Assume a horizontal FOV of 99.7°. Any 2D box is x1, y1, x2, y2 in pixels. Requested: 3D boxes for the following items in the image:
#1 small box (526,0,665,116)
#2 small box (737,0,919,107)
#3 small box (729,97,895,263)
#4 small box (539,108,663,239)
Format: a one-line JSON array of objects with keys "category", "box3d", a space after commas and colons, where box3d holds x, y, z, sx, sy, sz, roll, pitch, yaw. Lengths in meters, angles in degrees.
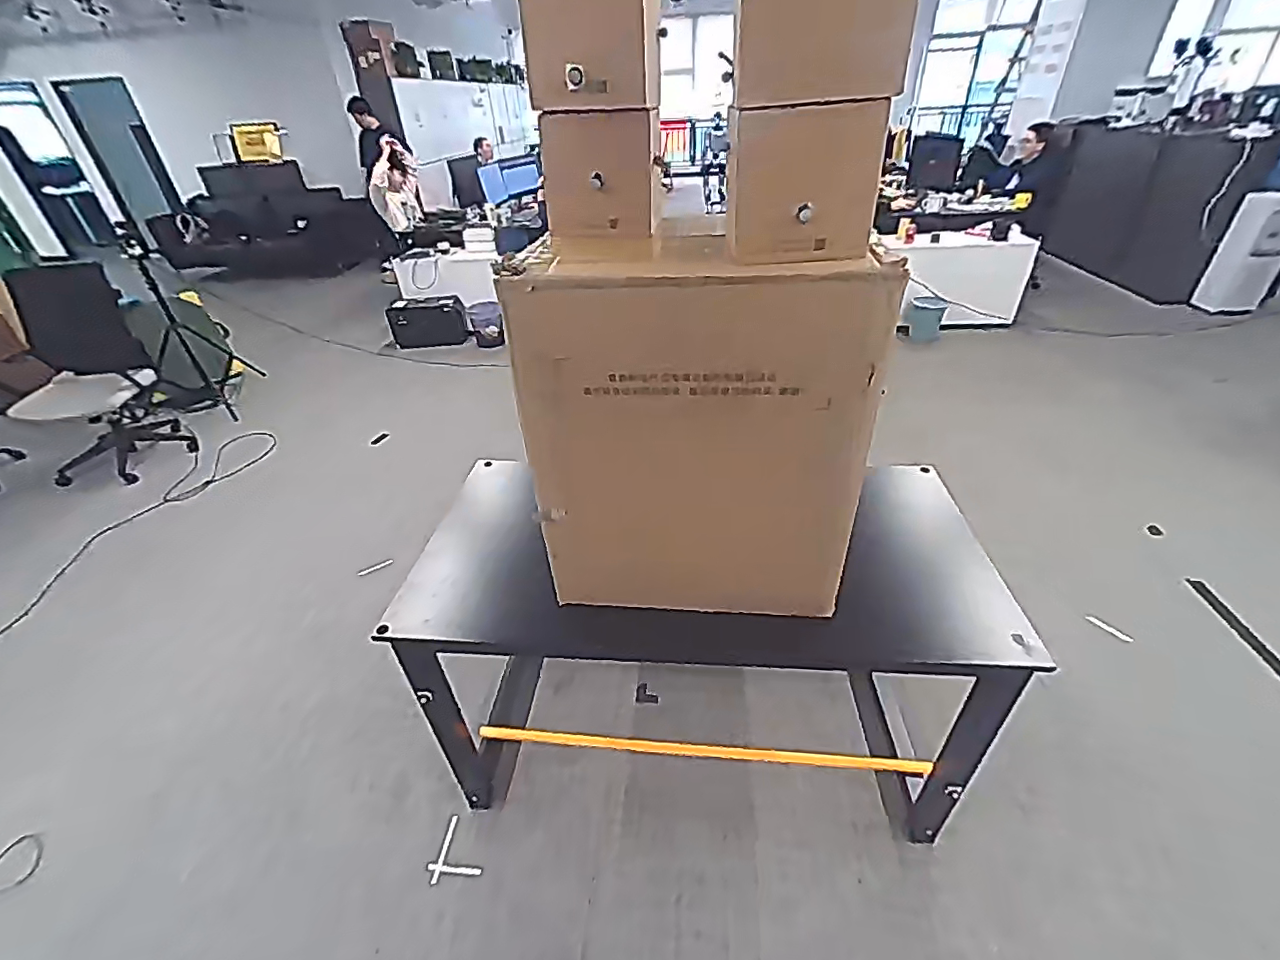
[{"category": "small box", "box3d": [-0.055, -0.617, 0.762, 0.168, 0.176, 0.179, 2, 36, 8]}, {"category": "small box", "box3d": [0.198, -0.515, 0.595, 0.179, 0.176, 0.168, 1, 37, 7]}, {"category": "small box", "box3d": [0.204, -0.389, 0.701, 0.168, 0.176, 0.179, -2, 36, 6]}, {"category": "small box", "box3d": [-0.051, -0.492, 0.870, 0.168, 0.176, 0.179, 2, 36, 6]}]
